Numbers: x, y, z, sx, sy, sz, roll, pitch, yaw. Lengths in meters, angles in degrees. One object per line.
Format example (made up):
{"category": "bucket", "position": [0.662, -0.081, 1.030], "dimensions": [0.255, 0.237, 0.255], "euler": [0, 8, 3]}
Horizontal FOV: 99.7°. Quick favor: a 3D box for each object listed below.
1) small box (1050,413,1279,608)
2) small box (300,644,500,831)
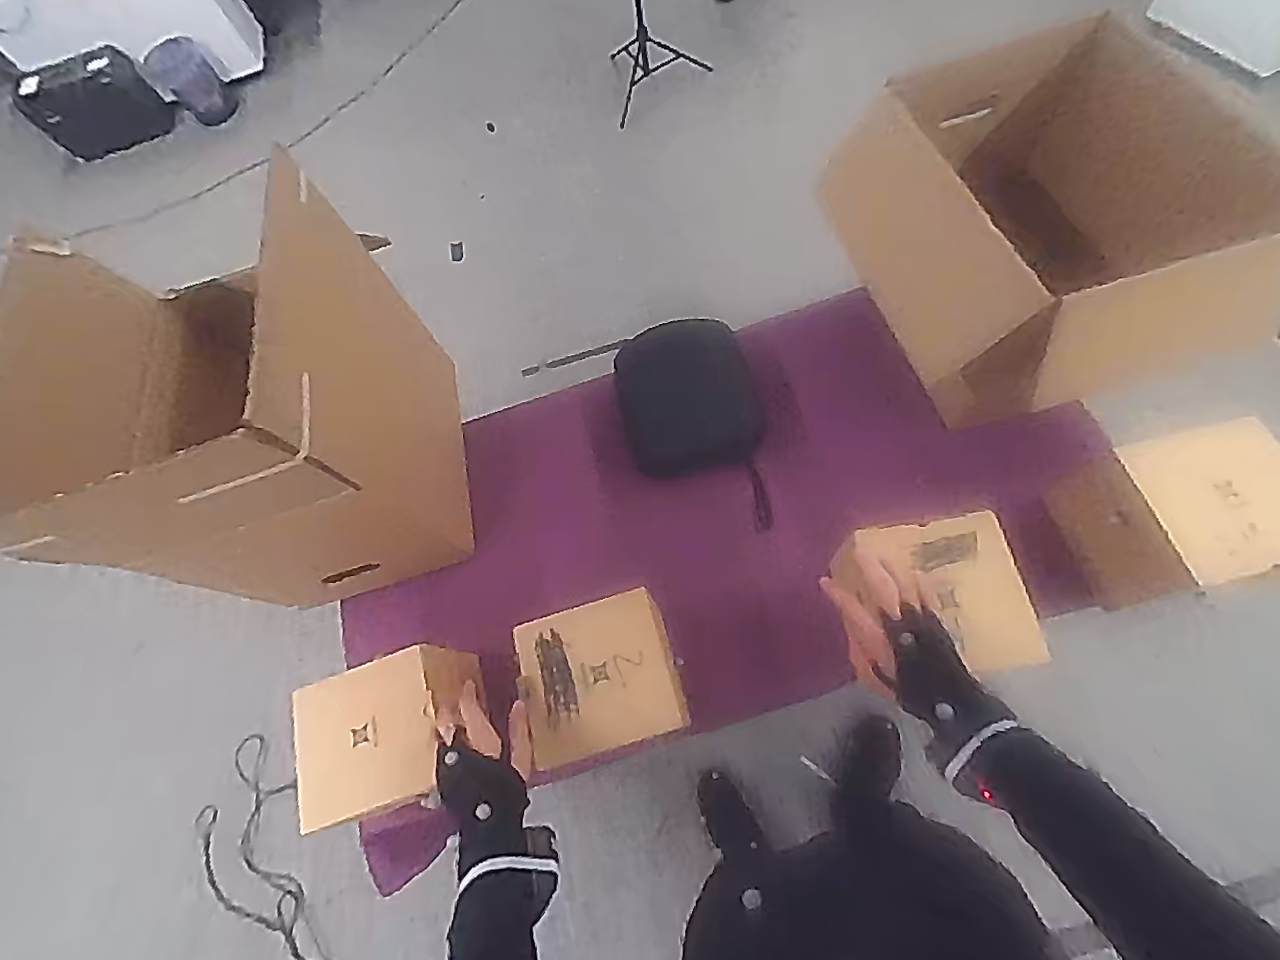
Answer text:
{"category": "small box", "position": [0.668, 0.046, 0.675], "dimensions": [0.168, 0.176, 0.179], "euler": [-14, 66, 5]}
{"category": "small box", "position": [-0.313, 0.338, 0.725], "dimensions": [0.179, 0.176, 0.168], "euler": [-21, 66, -1]}
